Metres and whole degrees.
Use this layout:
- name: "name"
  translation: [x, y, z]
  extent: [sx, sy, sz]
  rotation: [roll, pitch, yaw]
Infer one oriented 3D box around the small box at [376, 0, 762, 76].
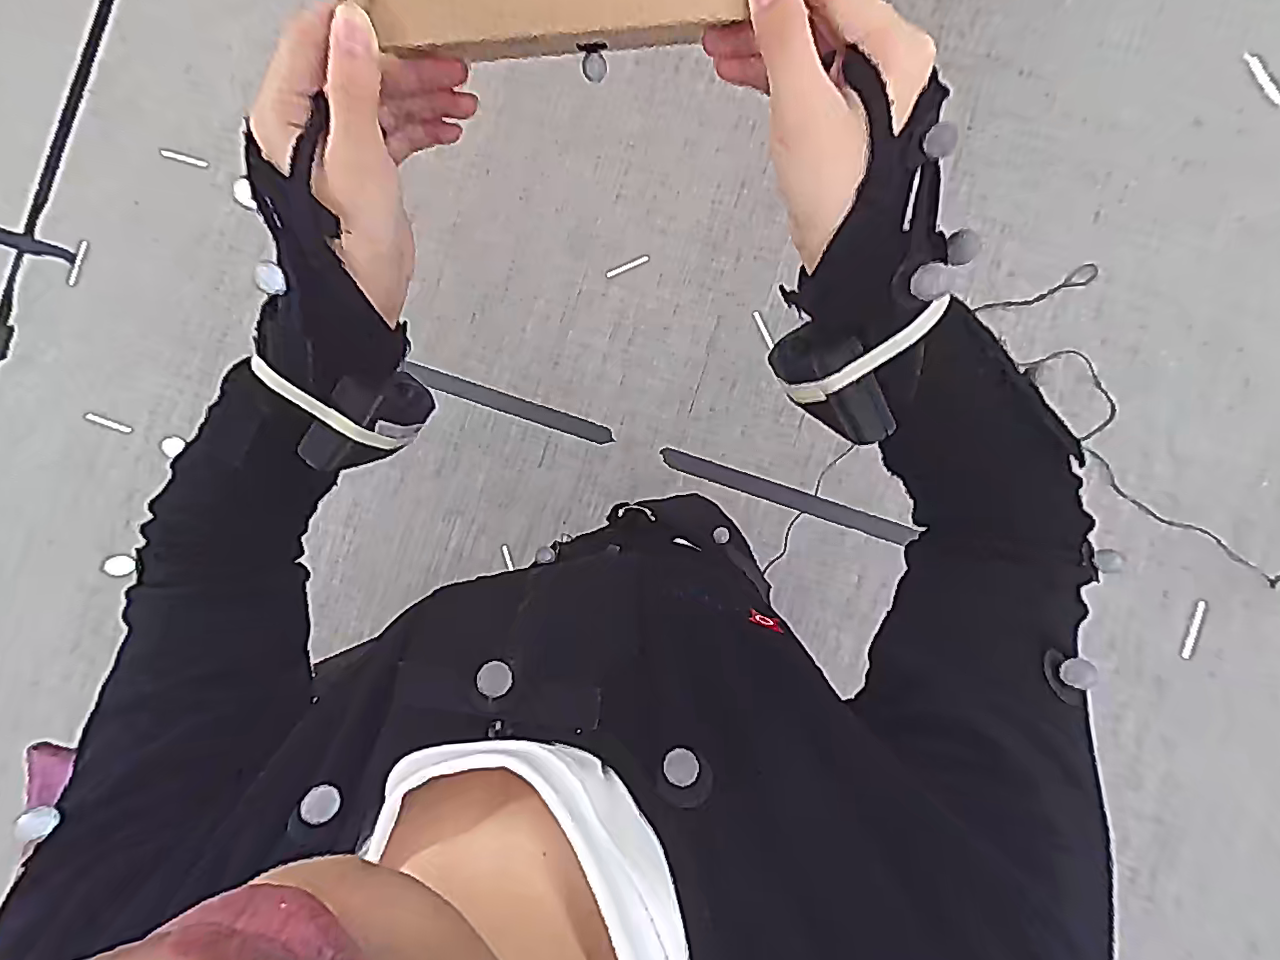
- name: "small box"
  translation: [-0.032, -0.294, 0.236]
  extent: [0.168, 0.176, 0.179]
  rotation: [-4, 126, 1]
